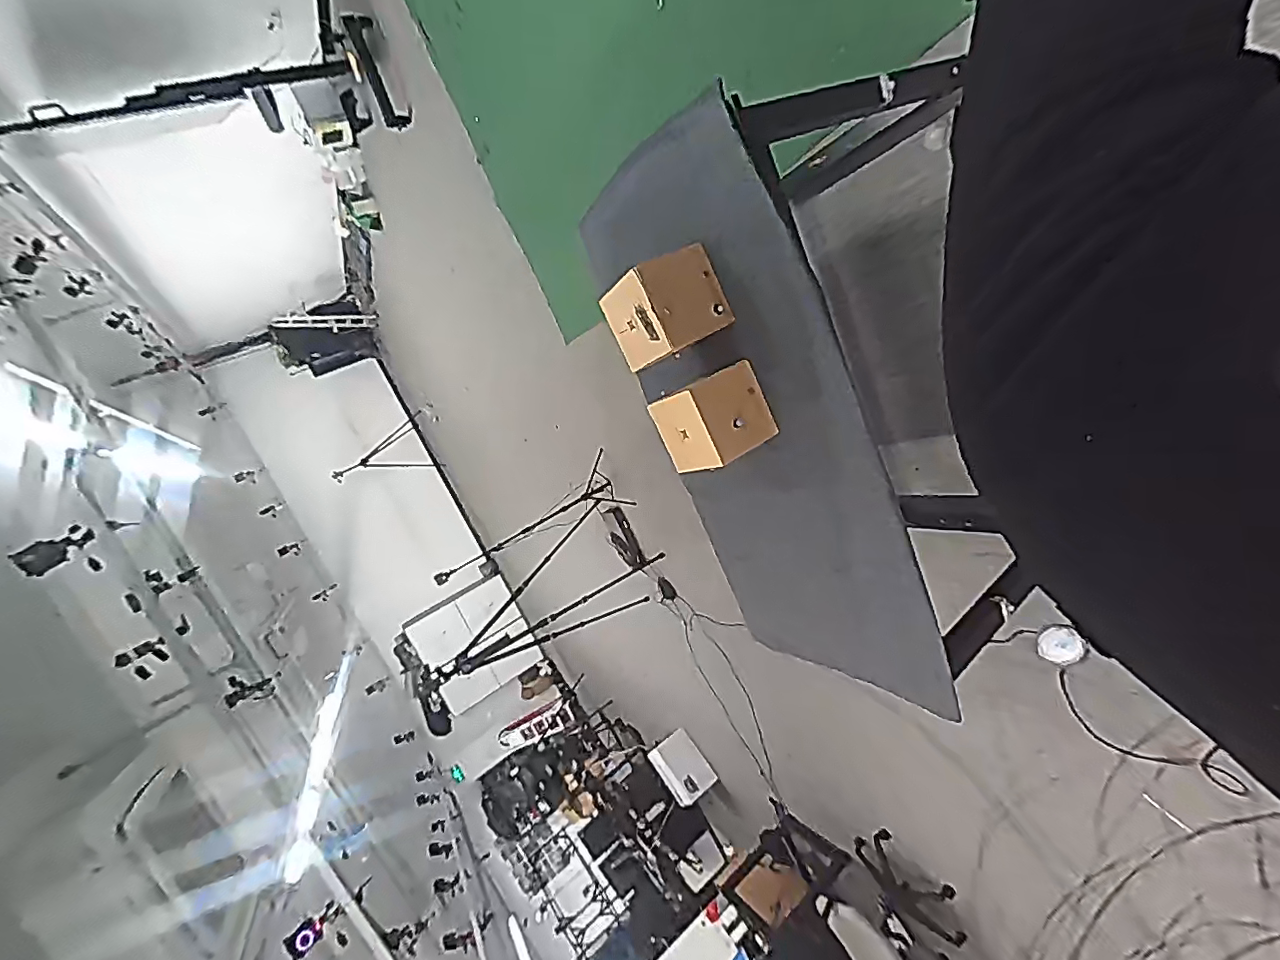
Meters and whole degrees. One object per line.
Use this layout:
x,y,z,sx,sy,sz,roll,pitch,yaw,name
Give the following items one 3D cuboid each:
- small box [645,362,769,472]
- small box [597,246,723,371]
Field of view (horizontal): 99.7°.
0.147,-0.132,1.141,0.179,0.176,0.168,-8,110,64,small box
0.045,-0.345,1.095,0.168,0.176,0.179,64,155,-8,small box
